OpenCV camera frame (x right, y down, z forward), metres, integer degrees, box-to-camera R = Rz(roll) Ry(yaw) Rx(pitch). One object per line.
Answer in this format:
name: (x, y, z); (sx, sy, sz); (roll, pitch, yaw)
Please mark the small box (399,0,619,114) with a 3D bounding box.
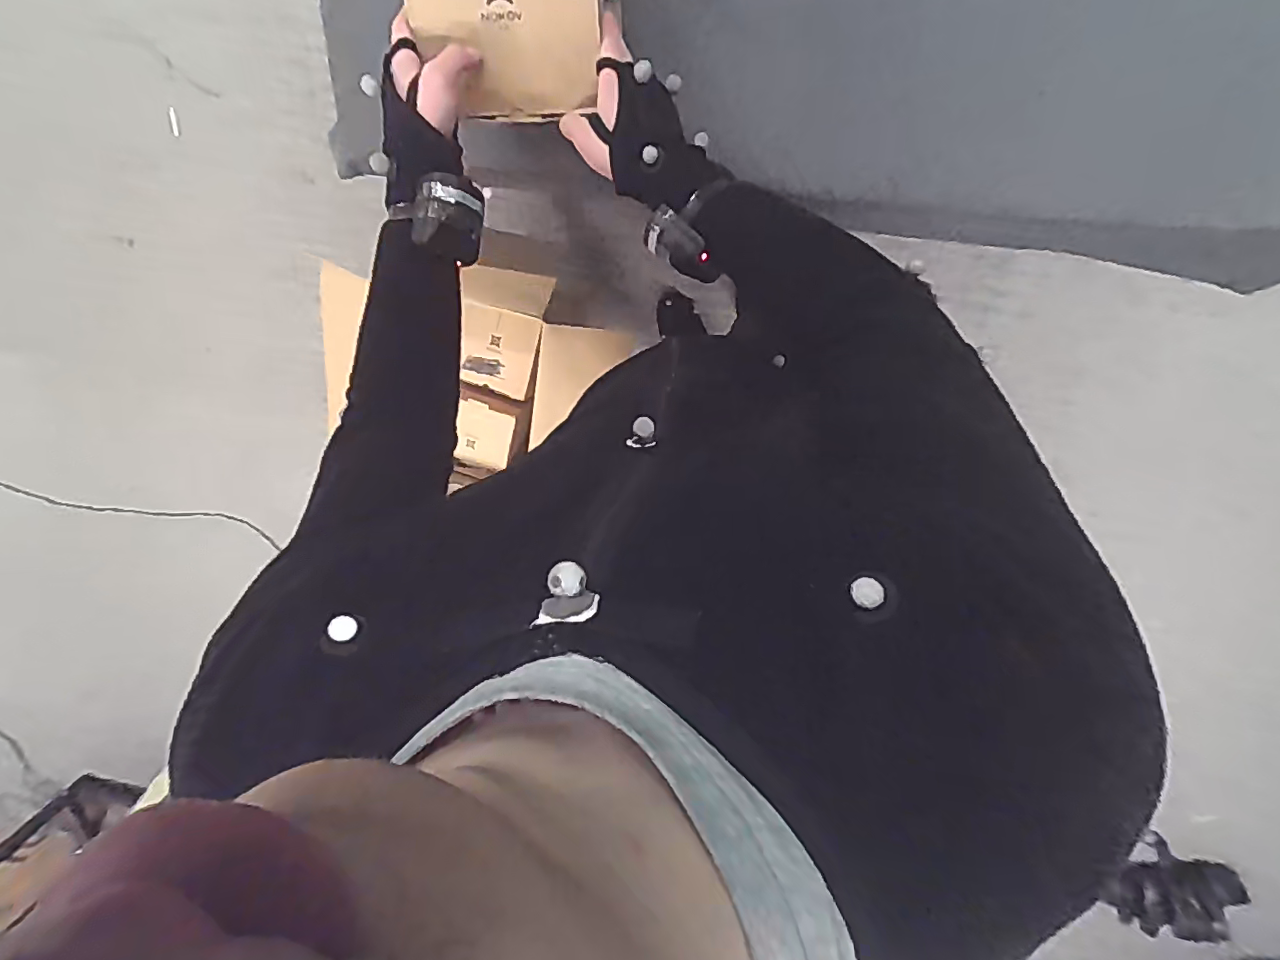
small box: (-0.113, -0.458, 0.499); (0.168, 0.176, 0.179); (1, 132, 5)
